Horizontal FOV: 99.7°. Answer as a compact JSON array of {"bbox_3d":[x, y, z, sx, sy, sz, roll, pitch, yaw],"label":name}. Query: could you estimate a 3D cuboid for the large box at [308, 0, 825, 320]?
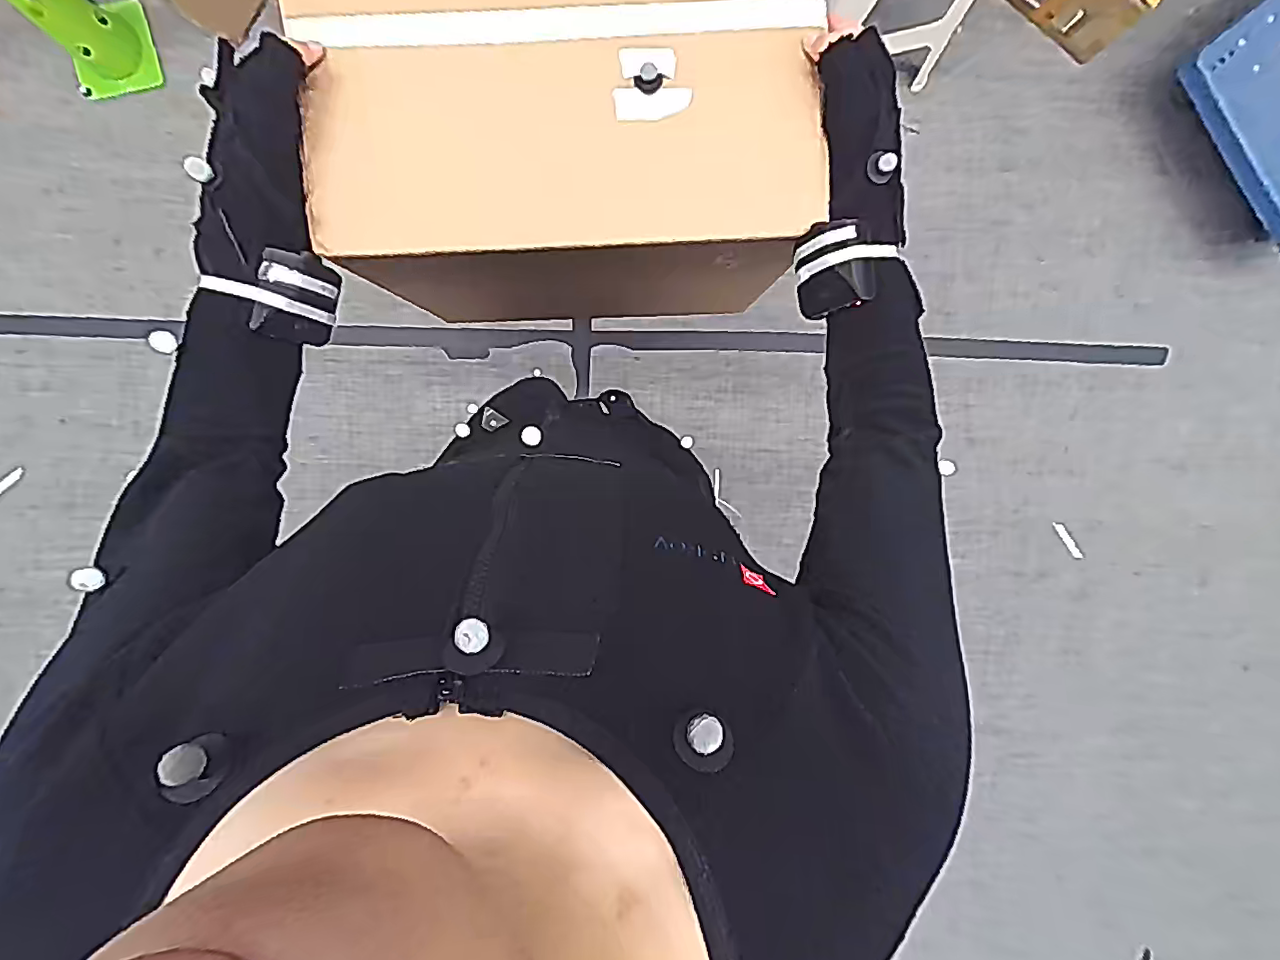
[{"bbox_3d":[-0.061,-0.363,0.569,0.408,0.320,0.320,-3,97,-1],"label":"large box"}]
